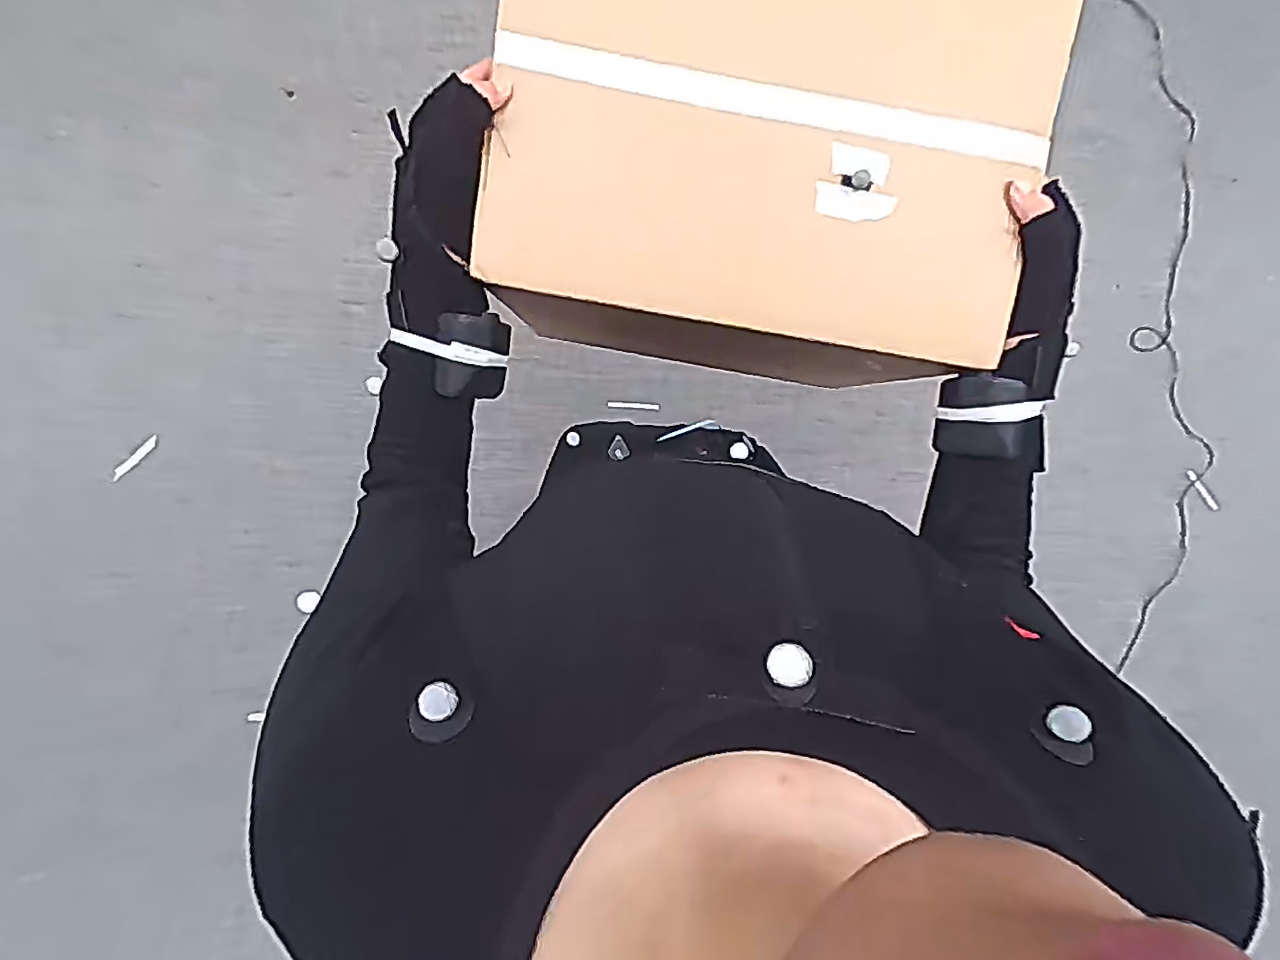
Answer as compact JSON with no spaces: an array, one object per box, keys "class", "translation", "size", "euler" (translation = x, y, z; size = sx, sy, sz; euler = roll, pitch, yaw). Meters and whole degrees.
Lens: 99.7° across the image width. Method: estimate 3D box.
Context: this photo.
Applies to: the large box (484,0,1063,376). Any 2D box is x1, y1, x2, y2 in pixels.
[{"class":"large box","translation":[0.091,-0.296,0.546],"size":[0.408,0.320,0.320],"euler":[9,98,-4]}]
